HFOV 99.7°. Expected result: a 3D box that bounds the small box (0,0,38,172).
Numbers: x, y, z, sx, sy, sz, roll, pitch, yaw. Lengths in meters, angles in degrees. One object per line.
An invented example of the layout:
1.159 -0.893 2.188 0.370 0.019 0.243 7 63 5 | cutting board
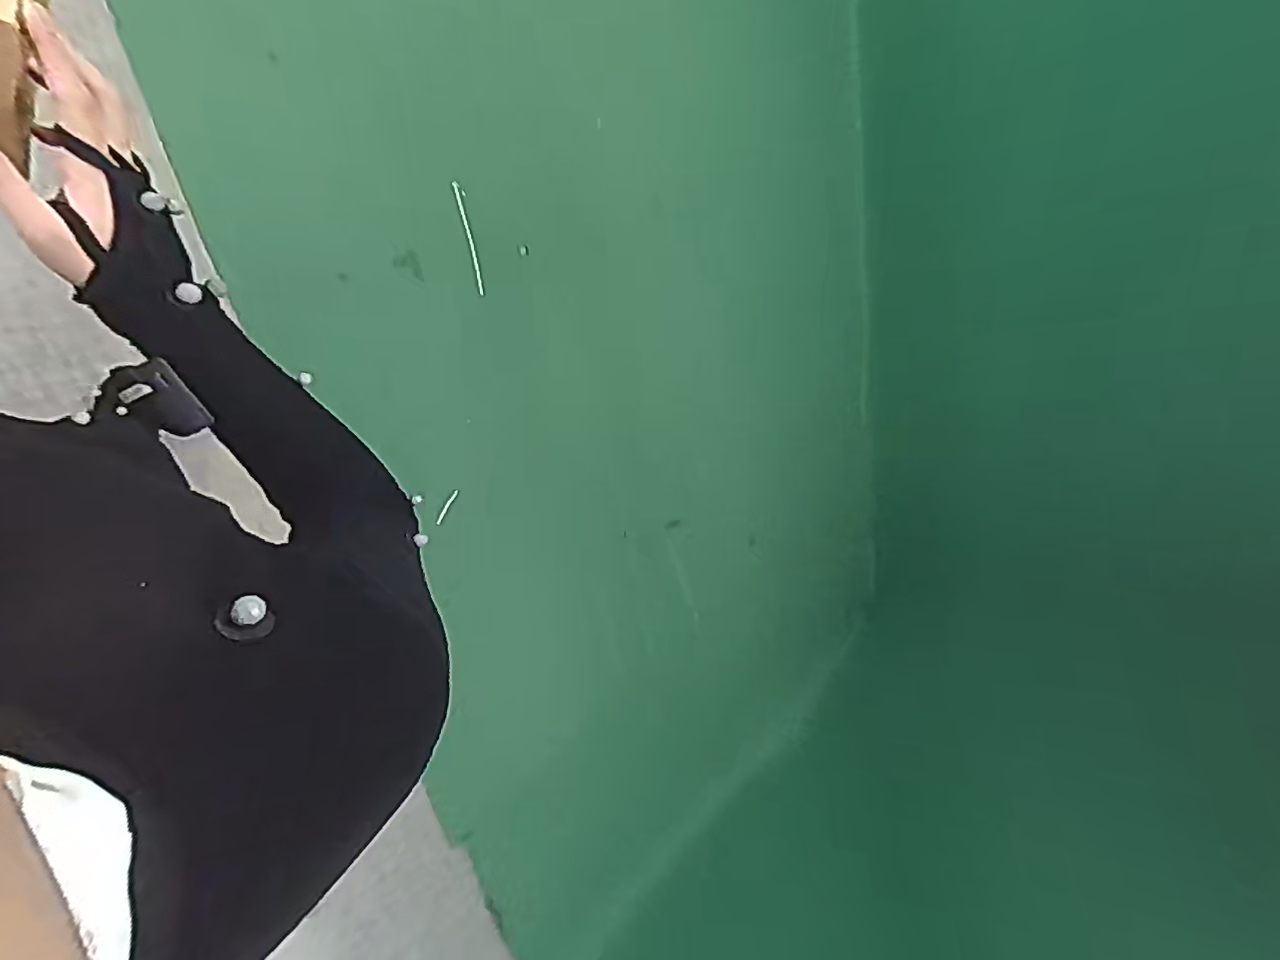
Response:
-0.462 -0.318 0.298 0.168 0.176 0.179 5 73 -47 | small box
